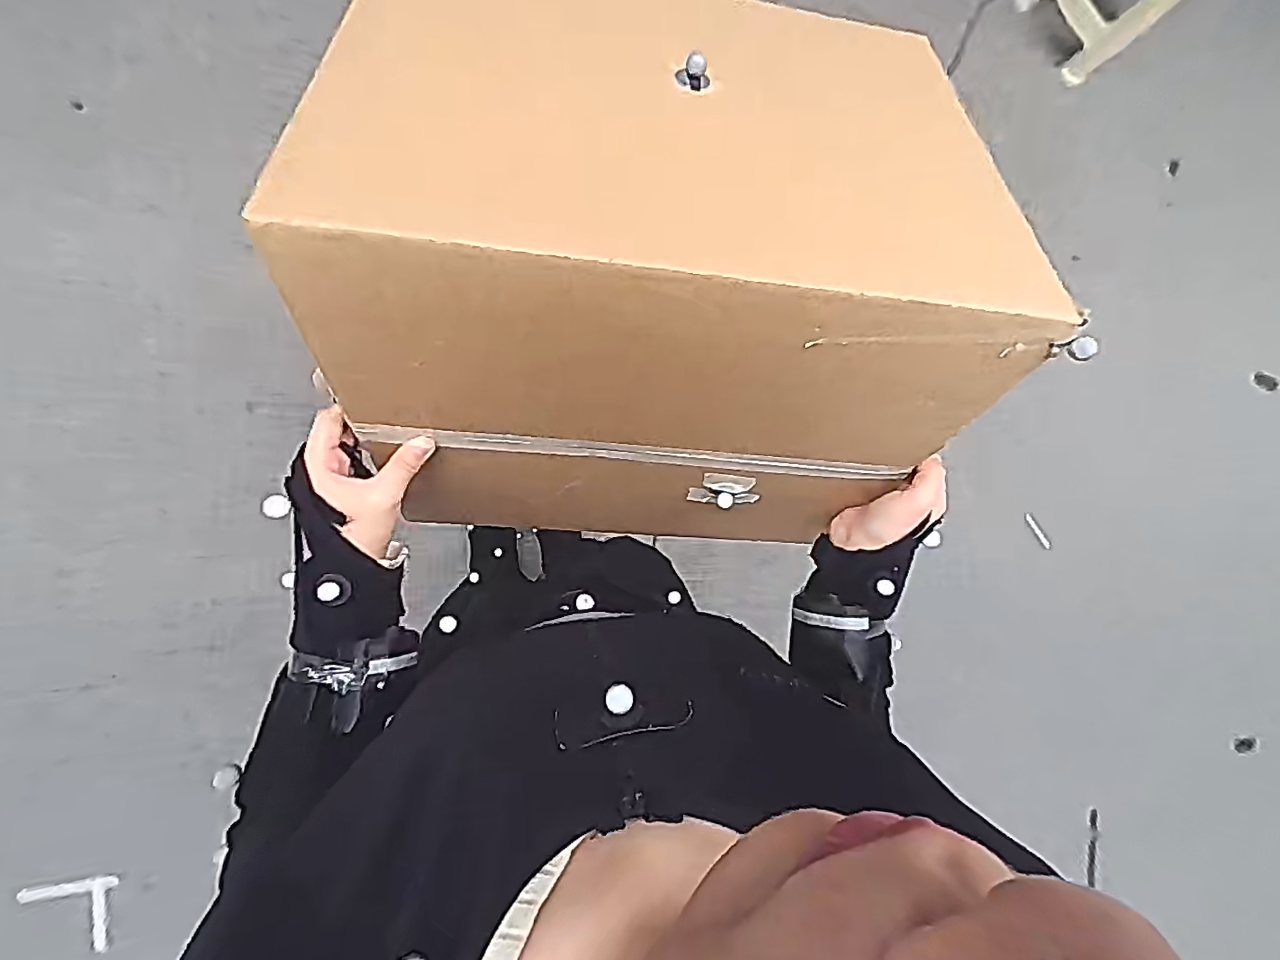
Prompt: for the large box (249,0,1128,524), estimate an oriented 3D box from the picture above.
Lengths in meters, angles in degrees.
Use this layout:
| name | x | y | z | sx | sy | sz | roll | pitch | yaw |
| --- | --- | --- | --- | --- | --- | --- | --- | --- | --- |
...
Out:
| name | x | y | z | sx | sy | sz | roll | pitch | yaw |
| --- | --- | --- | --- | --- | --- | --- | --- | --- | --- |
| large box | 0.014 | -0.168 | 0.435 | 0.408 | 0.320 | 0.320 | 2 | 62 | -8 |
